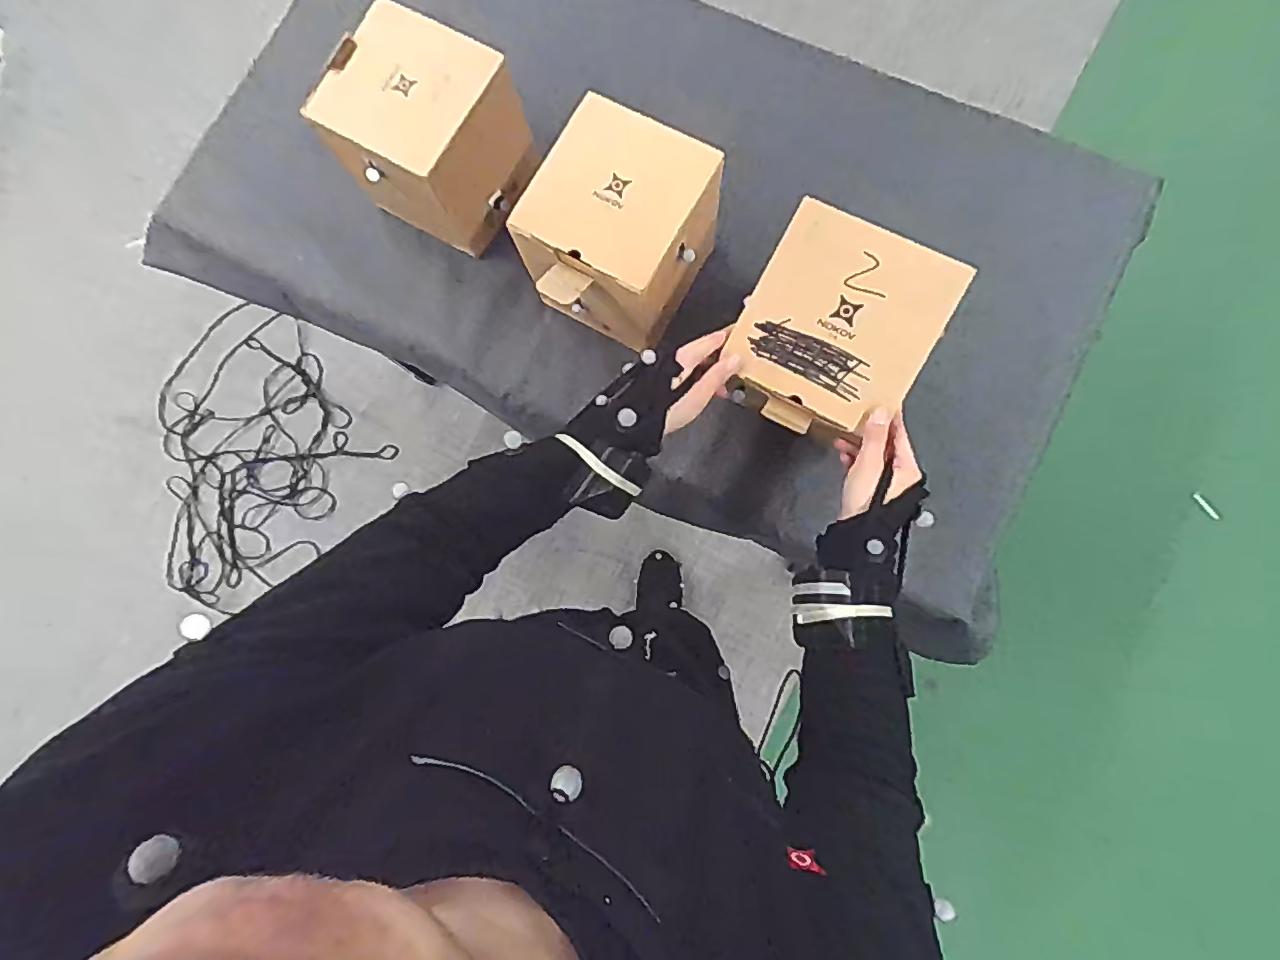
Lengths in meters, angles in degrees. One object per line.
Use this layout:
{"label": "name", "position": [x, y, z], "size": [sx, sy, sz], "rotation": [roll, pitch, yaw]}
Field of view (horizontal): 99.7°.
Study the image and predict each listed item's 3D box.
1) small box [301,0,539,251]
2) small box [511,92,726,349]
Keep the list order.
{"label": "small box", "position": [-0.253, -0.419, 0.665], "size": [0.179, 0.176, 0.168], "rotation": [30, 85, 7]}
{"label": "small box", "position": [-0.019, -0.287, 0.633], "size": [0.168, 0.176, 0.179], "rotation": [29, 85, 7]}
